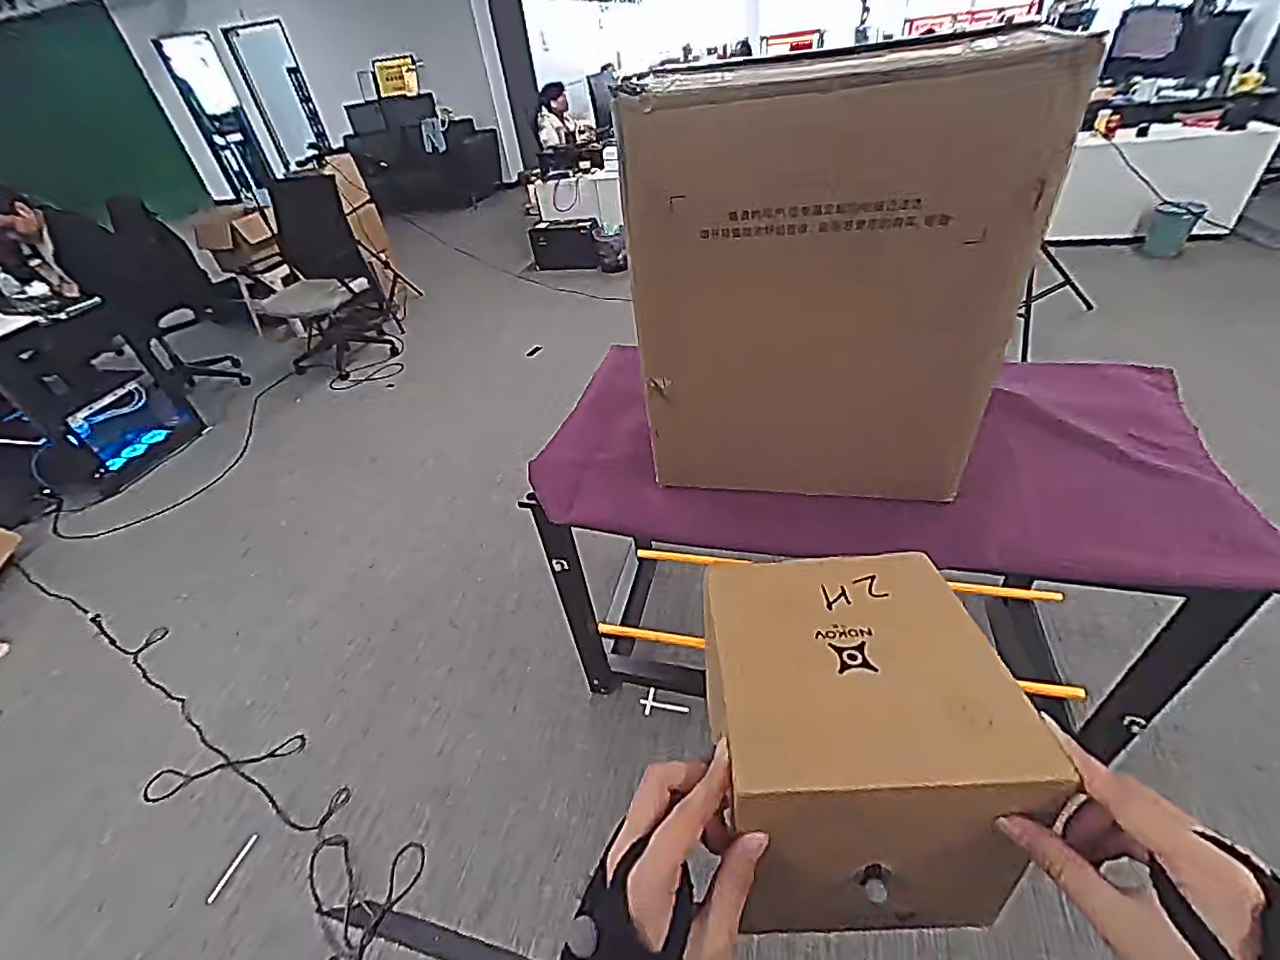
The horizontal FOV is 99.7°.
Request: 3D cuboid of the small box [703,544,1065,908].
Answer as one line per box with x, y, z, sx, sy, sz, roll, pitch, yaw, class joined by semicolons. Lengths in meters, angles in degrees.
0.136;0.168;0.378;0.168;0.176;0.179;-4;31;2;small box
